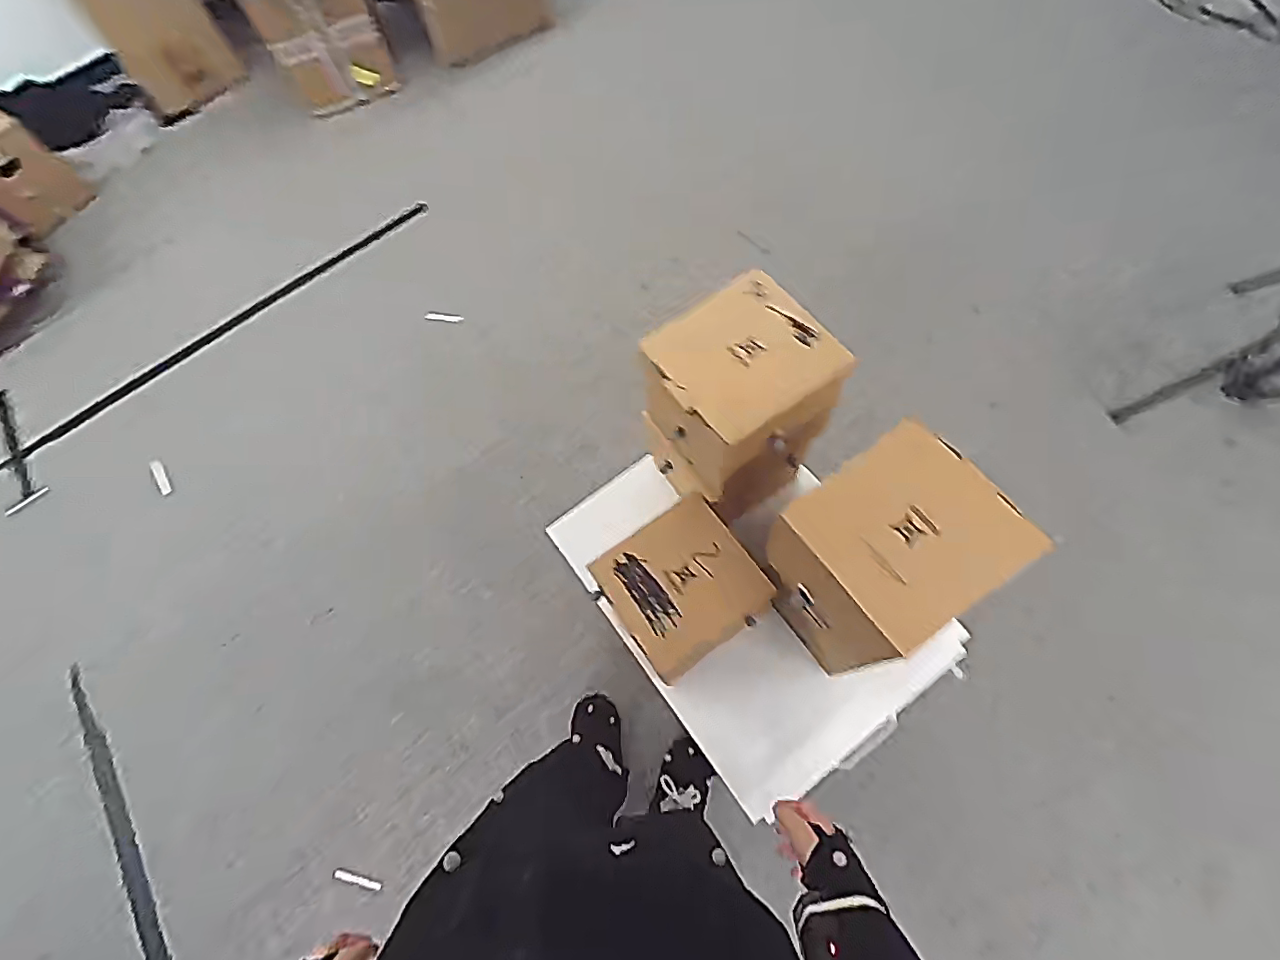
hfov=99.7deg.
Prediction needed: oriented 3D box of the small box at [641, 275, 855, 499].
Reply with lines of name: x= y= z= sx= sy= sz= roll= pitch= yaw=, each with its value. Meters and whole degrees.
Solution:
small box: x=0.125 y=-0.103 z=0.663 sx=0.179 sy=0.176 sz=0.168 roll=-34 pitch=68 yaw=-7

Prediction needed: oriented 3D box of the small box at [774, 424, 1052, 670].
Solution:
small box: x=0.262 y=0.079 z=0.570 sx=0.179 sy=0.176 sz=0.168 roll=-34 pitch=67 yaw=-7

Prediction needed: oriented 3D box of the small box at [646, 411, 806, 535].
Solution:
small box: x=0.131 y=-0.041 z=0.815 sx=0.179 sy=0.176 sz=0.168 roll=-32 pitch=68 yaw=-7
